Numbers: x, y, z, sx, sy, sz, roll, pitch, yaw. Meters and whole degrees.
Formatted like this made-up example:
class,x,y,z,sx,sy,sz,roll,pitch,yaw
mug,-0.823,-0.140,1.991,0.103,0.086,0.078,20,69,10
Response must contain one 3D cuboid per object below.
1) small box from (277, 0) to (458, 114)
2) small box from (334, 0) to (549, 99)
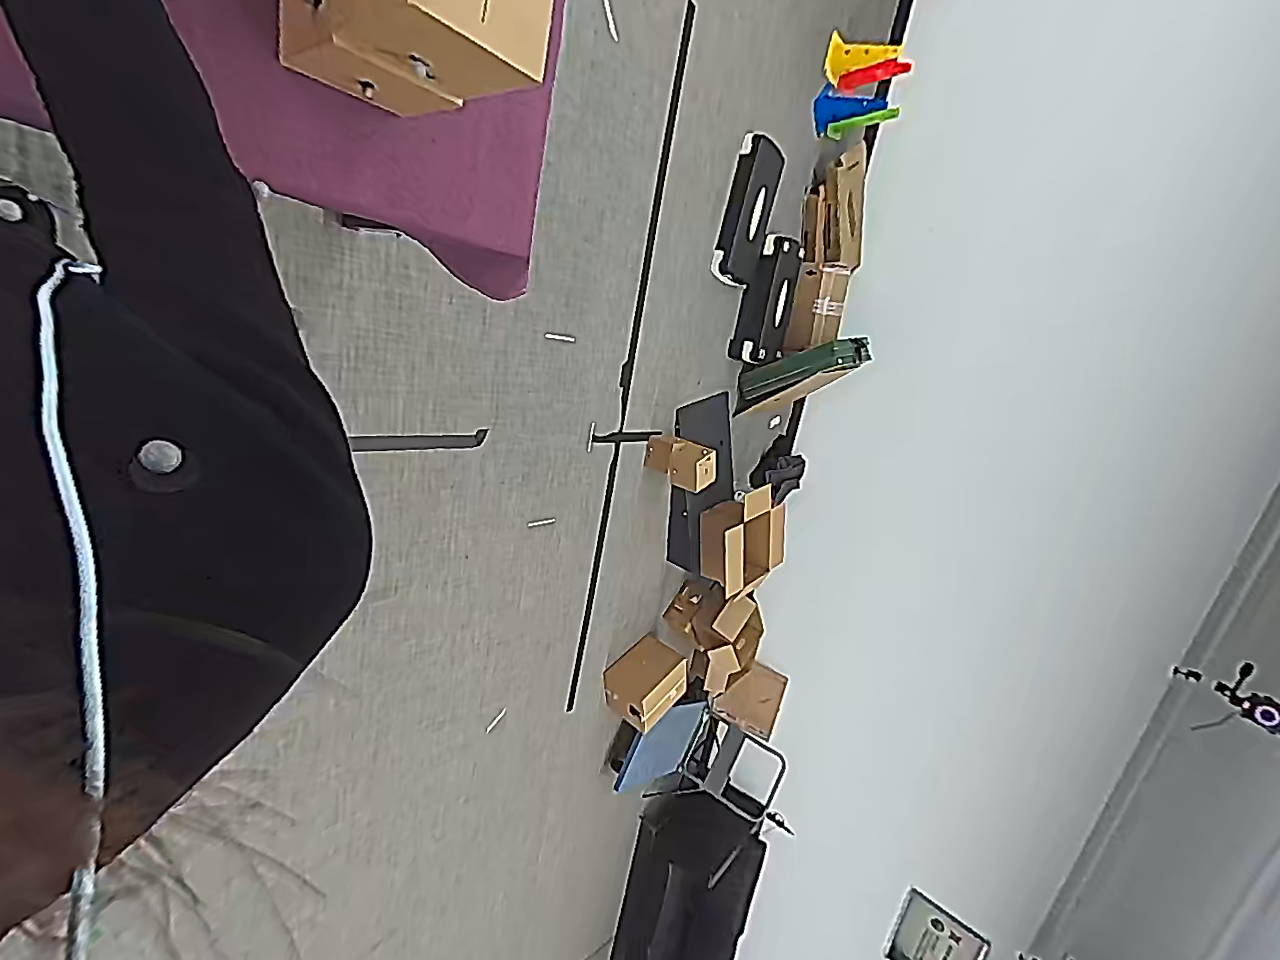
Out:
class,x,y,z,sx,sy,sz,roll,pitch,yaw
small box,-0.342,-0.599,0.692,0.168,0.176,0.179,-8,114,-51
small box,-0.216,-0.558,0.595,0.168,0.176,0.179,-7,114,-50
